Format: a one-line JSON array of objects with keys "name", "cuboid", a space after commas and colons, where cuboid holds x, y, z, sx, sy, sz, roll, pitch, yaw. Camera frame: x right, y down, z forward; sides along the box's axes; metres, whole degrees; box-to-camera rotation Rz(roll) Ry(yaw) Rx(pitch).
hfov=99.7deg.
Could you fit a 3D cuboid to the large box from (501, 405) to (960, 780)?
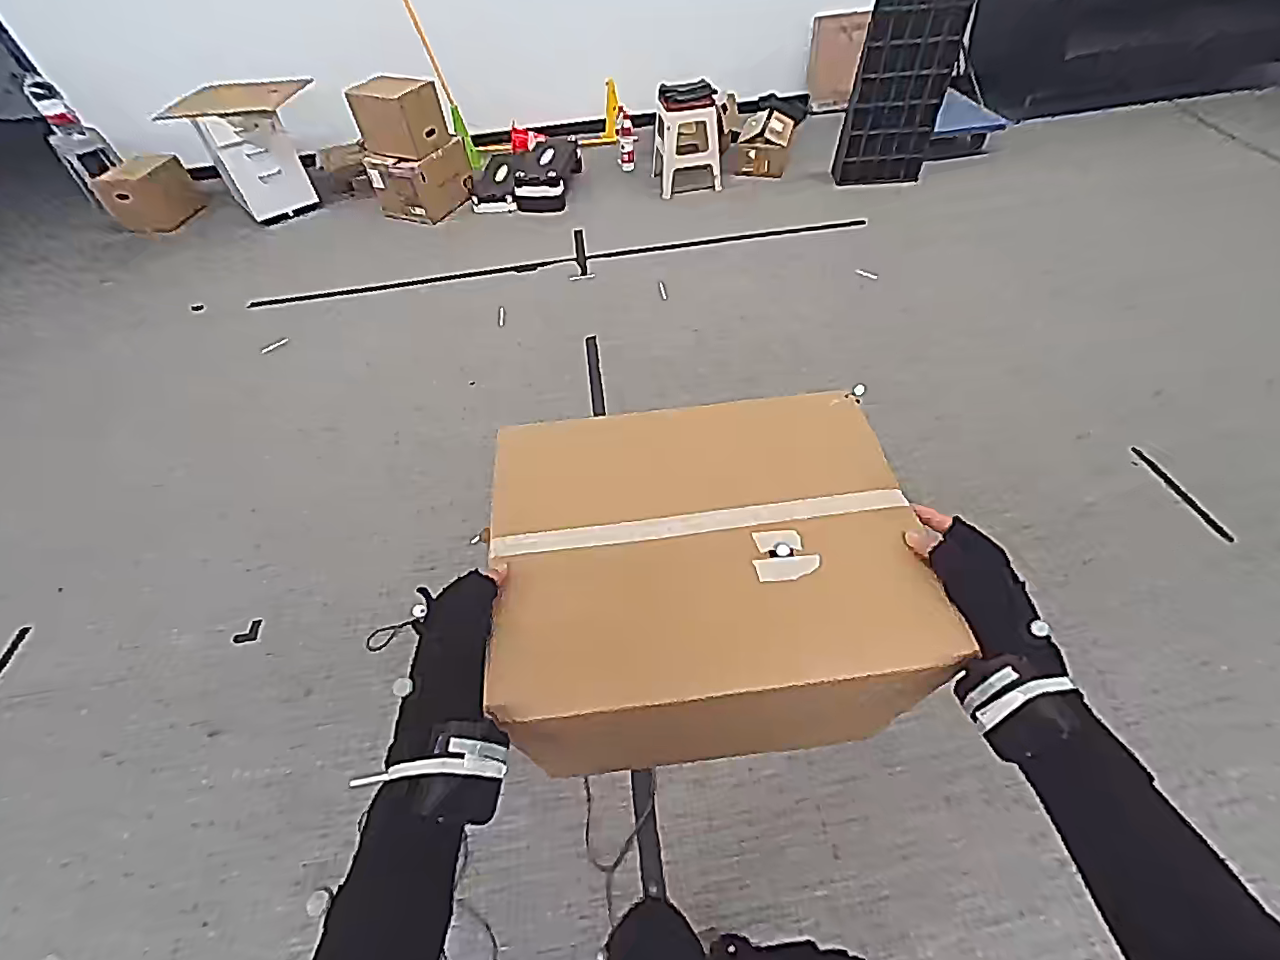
[{"name": "large box", "cuboid": [0.064, 0.145, 0.658, 0.408, 0.320, 0.320, -7, 55, -3]}]
